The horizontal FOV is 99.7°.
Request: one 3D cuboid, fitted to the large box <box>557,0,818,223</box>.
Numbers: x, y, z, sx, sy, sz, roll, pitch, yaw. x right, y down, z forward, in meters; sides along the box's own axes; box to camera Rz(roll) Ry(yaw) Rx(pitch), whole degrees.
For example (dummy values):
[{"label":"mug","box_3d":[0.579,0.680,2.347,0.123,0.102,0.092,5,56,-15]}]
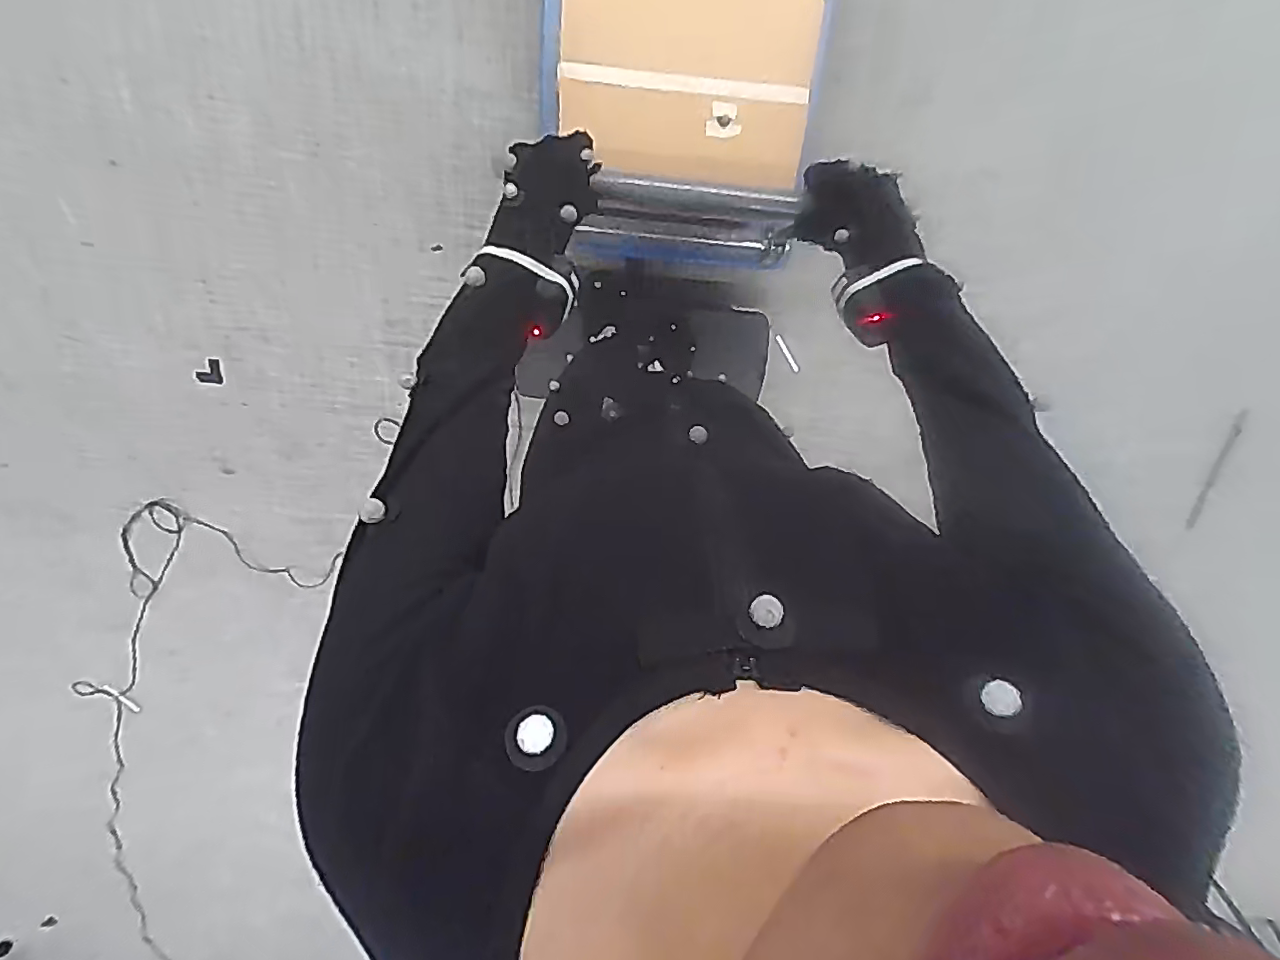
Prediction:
[{"label":"large box","box_3d":[0.059,-0.675,1.007,0.408,0.320,0.320,3,111,-4]}]
